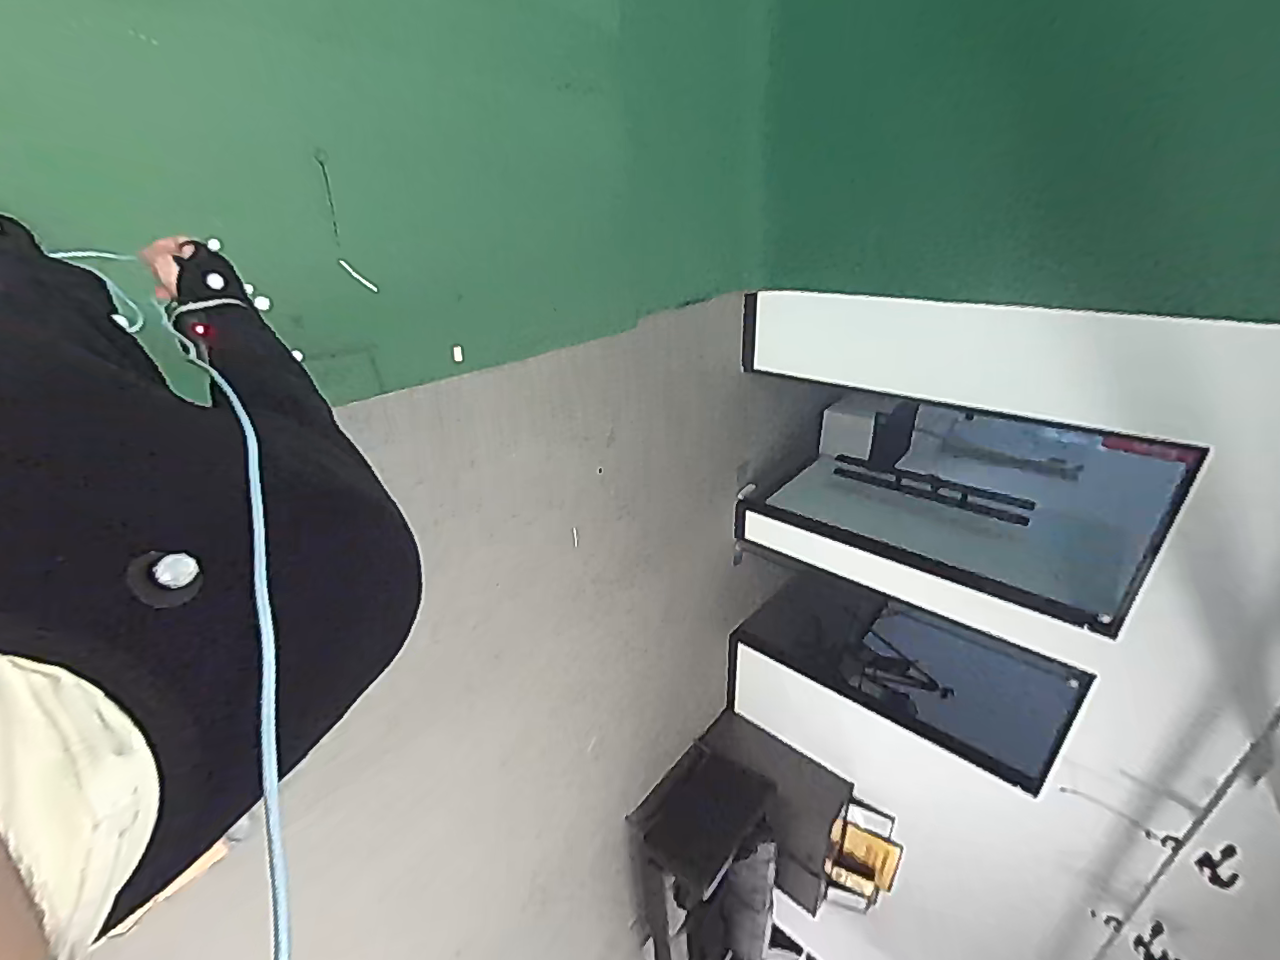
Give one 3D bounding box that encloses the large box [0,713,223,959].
[{"bbox_3d":[-1.310,0.851,1.266,0.408,0.320,0.320,-30,128,-42],"label":"large box"}]
